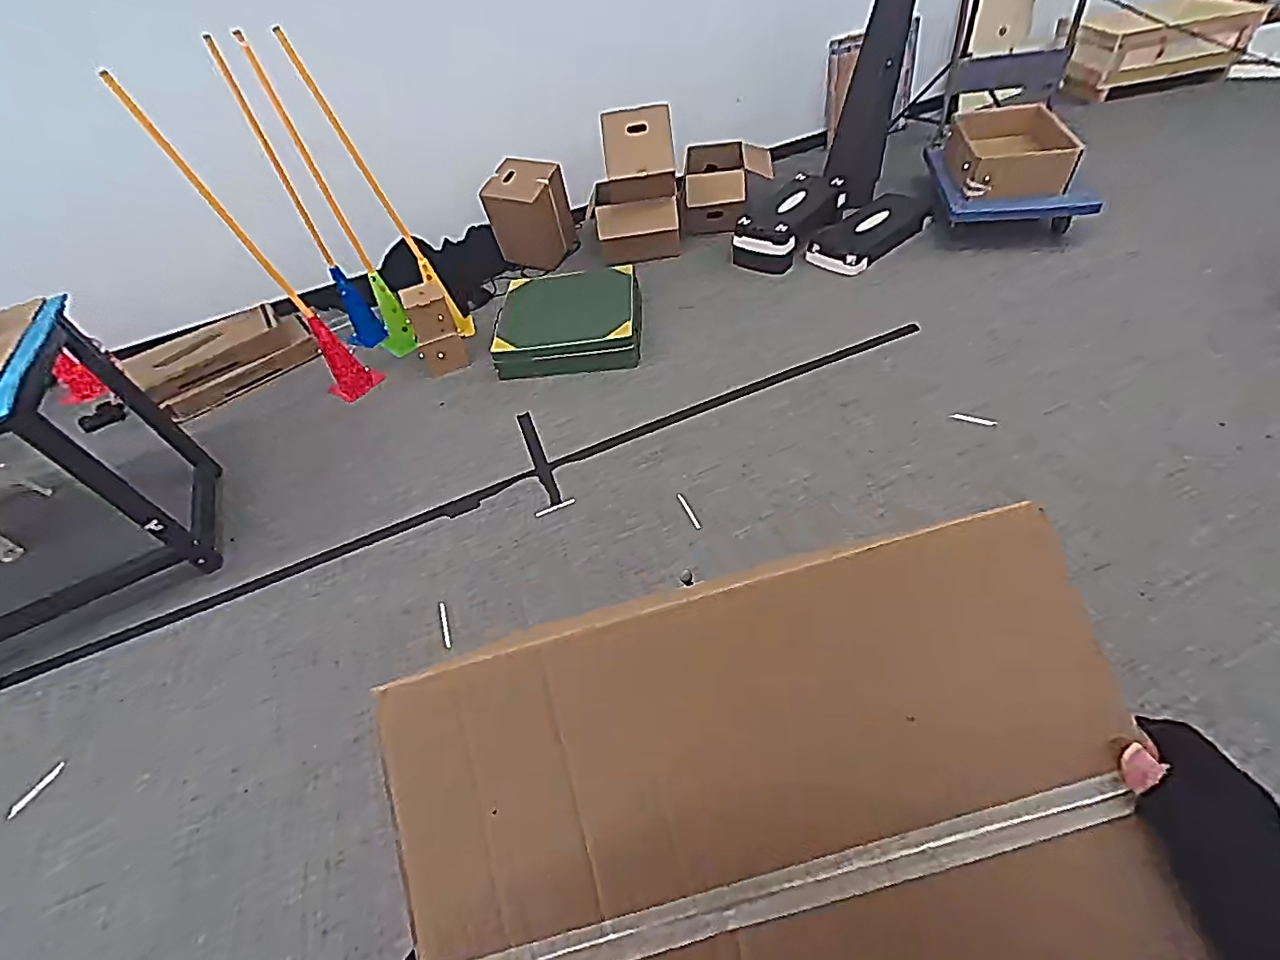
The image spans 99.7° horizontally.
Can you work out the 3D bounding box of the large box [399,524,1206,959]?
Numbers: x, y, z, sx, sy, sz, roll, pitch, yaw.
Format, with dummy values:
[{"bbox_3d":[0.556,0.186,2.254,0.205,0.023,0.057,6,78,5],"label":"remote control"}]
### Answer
[{"bbox_3d":[0.093,0.250,0.447,0.408,0.320,0.320,-17,79,0],"label":"large box"}]
